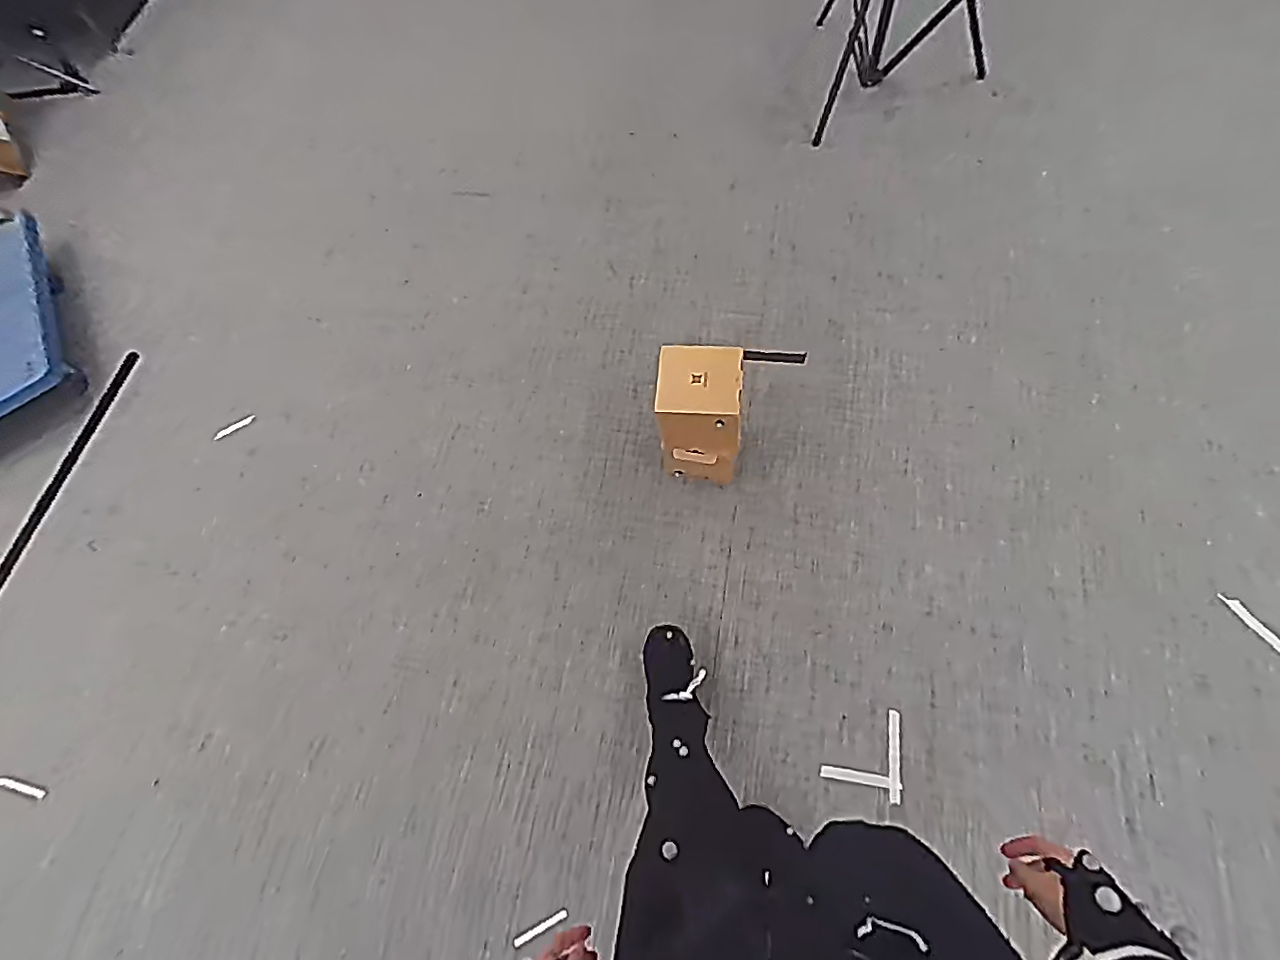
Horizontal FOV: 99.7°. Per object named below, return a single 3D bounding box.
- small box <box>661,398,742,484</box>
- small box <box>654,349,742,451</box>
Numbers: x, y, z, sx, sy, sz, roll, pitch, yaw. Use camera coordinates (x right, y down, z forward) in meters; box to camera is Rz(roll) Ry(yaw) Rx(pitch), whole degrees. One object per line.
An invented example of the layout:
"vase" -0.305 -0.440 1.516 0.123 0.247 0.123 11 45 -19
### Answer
"small box" 0.157 -0.104 1.340 0.168 0.176 0.179 9 70 12
"small box" 0.132 -0.172 1.194 0.179 0.176 0.168 3 69 9
